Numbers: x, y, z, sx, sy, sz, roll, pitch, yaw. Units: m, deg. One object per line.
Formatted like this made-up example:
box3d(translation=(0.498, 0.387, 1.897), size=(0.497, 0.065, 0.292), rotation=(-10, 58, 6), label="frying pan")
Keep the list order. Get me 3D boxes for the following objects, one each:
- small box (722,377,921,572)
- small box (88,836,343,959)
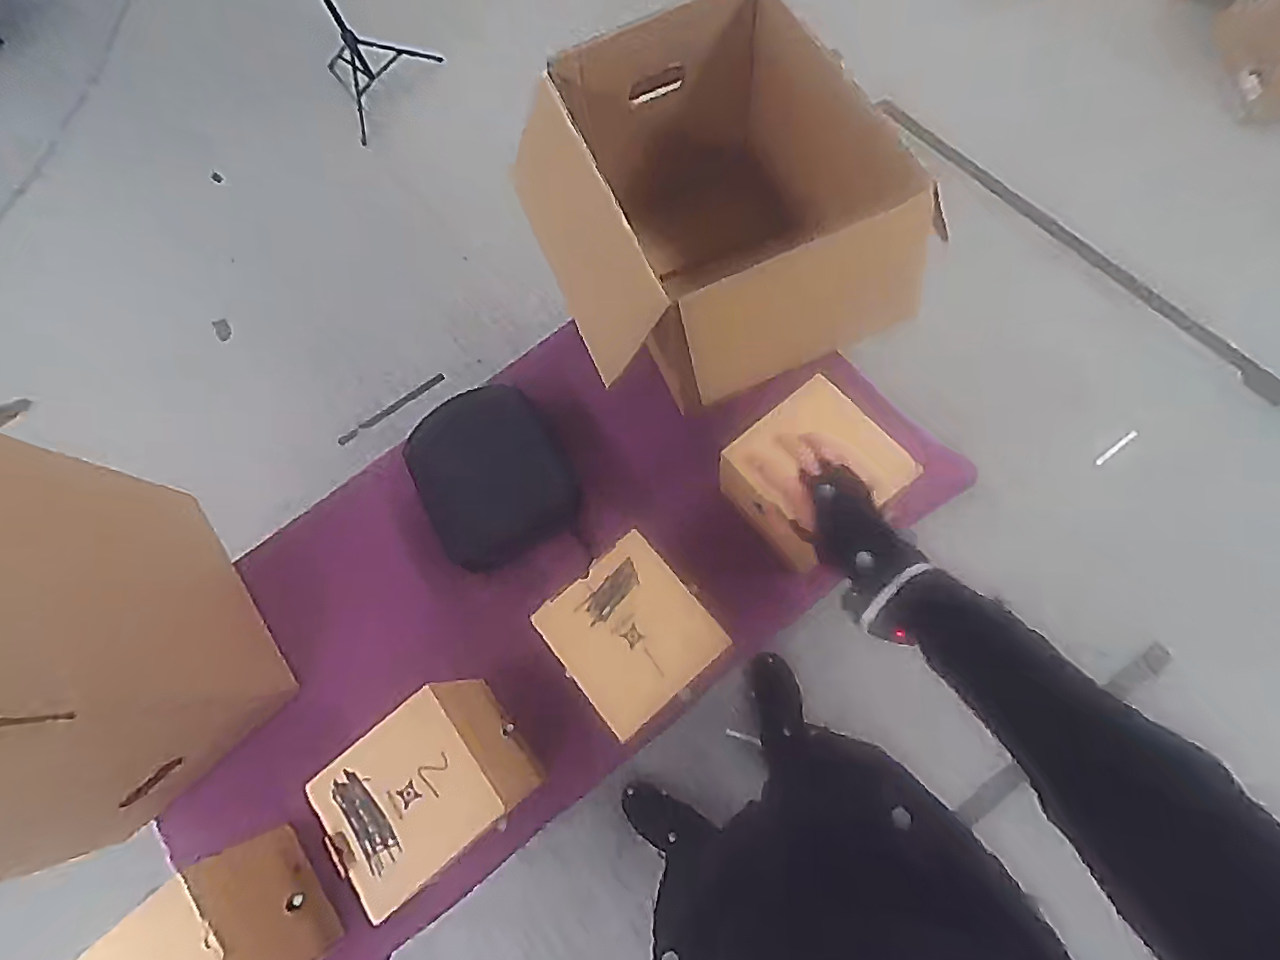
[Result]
box3d(translation=(0.224, 0.003, 0.724), size=(0.168, 0.176, 0.179), rotation=(-39, 72, -4), label="small box")
box3d(translation=(-0.503, 0.574, 0.641), size=(0.179, 0.176, 0.168), rotation=(-41, 72, -8), label="small box")
